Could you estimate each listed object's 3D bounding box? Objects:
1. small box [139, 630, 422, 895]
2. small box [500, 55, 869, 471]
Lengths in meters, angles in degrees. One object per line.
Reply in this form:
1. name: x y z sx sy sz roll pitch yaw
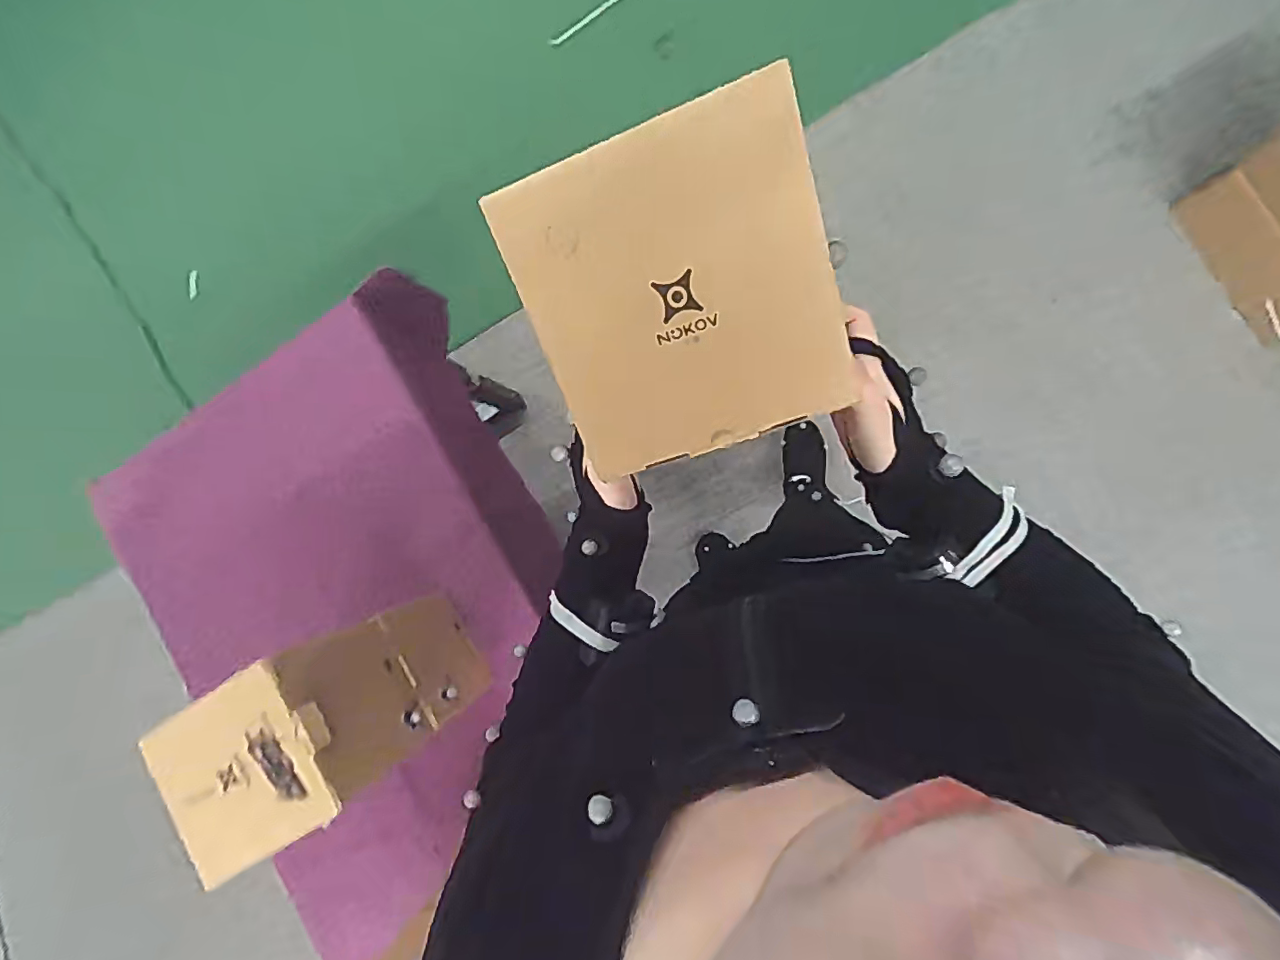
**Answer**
1. small box: -0.373 0.291 0.598 0.179 0.176 0.168 -33 83 9
2. small box: 0.034 -0.134 0.369 0.168 0.176 0.179 -17 112 12
